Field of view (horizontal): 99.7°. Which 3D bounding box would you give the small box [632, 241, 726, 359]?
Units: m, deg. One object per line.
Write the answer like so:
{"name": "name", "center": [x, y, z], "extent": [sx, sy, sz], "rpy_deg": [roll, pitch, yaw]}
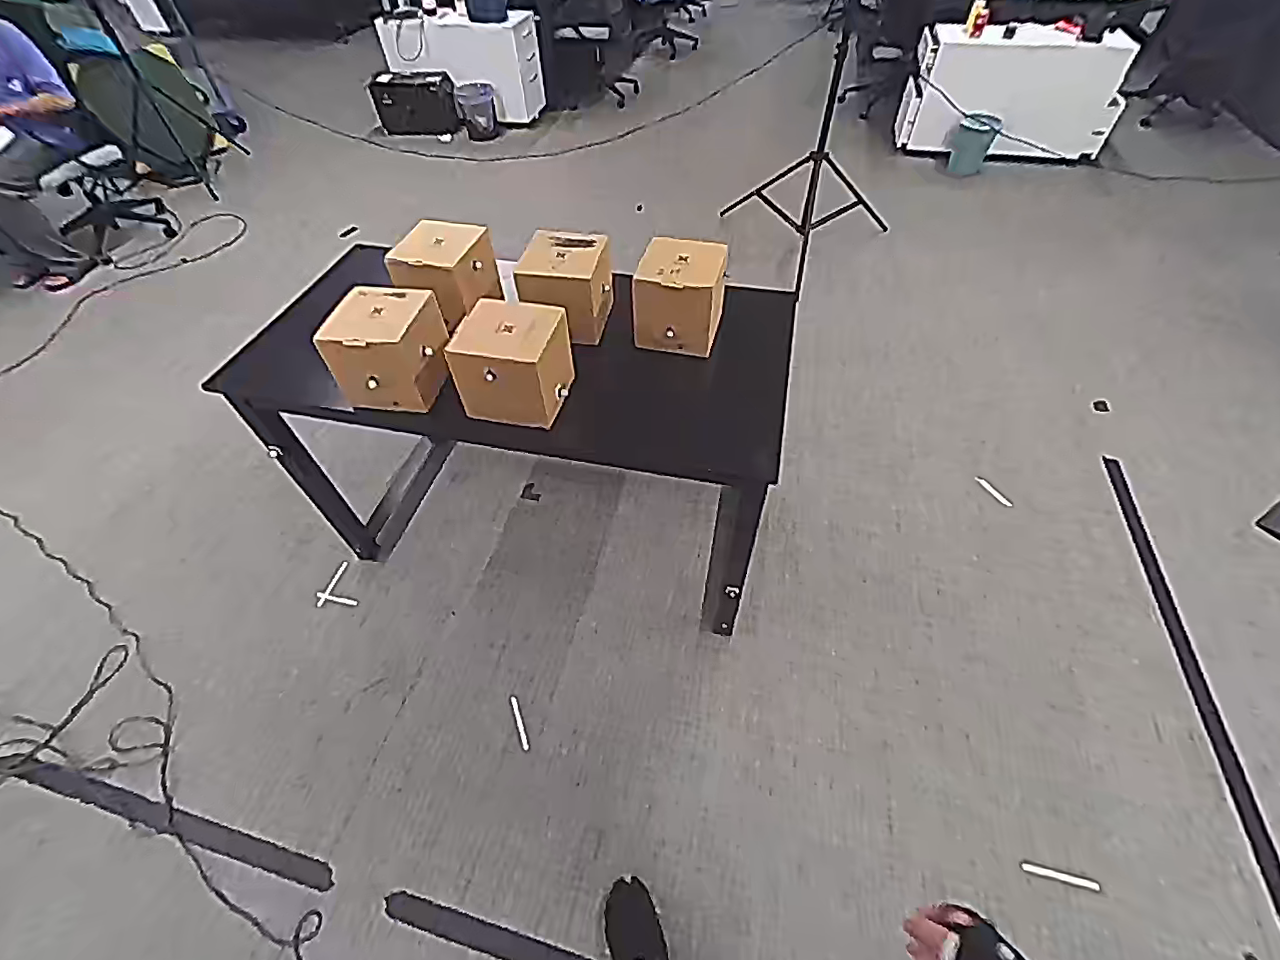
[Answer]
{"name": "small box", "center": [0.085, -0.390, 1.174], "extent": [0.168, 0.176, 0.179], "rpy_deg": [11, 52, 11]}

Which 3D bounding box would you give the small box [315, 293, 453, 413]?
{"name": "small box", "center": [-0.495, -0.252, 1.082], "extent": [0.168, 0.176, 0.179], "rpy_deg": [4, 51, 6]}

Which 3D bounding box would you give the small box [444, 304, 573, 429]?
{"name": "small box", "center": [-0.243, -0.217, 1.047], "extent": [0.179, 0.176, 0.168], "rpy_deg": [9, 52, 8]}

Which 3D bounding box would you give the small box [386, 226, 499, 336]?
{"name": "small box", "center": [-0.442, -0.458, 1.250], "extent": [0.168, 0.176, 0.179], "rpy_deg": [10, 52, 10]}
